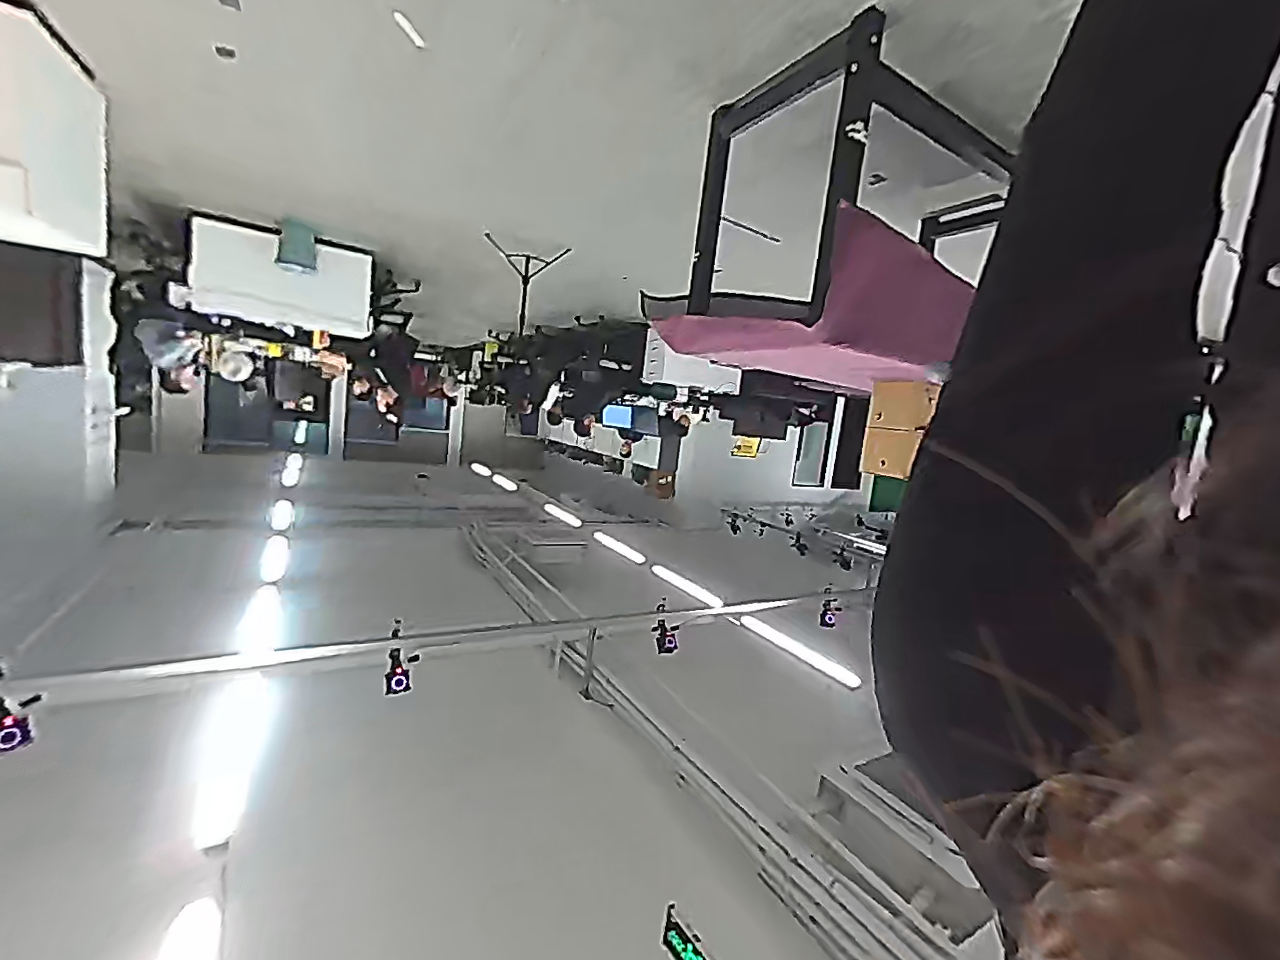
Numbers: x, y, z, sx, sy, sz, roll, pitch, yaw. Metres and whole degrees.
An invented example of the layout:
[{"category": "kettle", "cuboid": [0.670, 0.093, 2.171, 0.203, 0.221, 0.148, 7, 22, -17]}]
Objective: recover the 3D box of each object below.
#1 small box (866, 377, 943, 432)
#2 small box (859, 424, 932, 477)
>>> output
[{"category": "small box", "cuboid": [0.939, -0.270, 1.919, 0.168, 0.176, 0.179, 2, -172, -31]}, {"category": "small box", "cuboid": [0.920, -0.108, 1.941, 0.168, 0.176, 0.179, 4, -171, -27]}]
